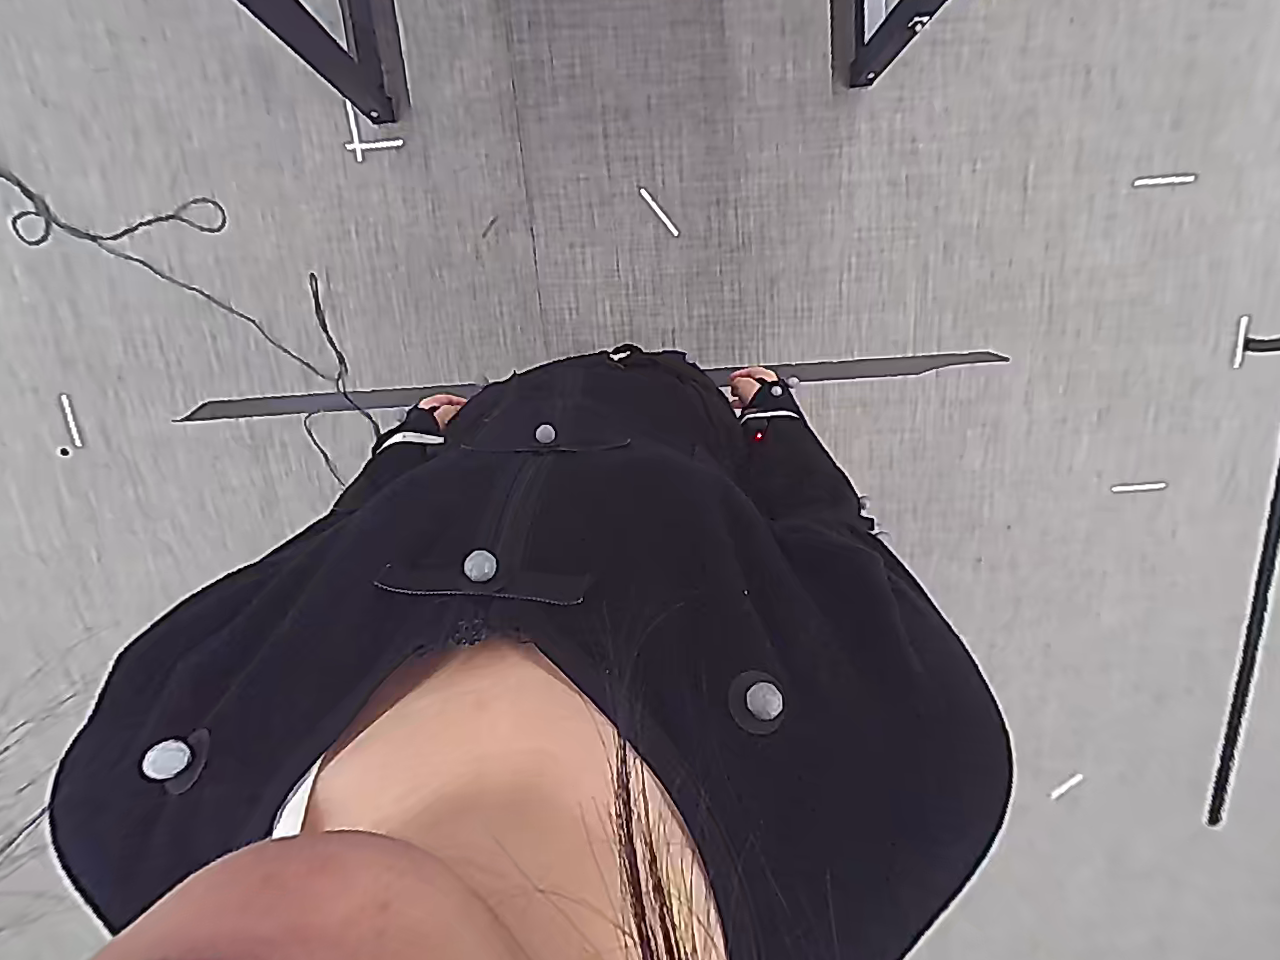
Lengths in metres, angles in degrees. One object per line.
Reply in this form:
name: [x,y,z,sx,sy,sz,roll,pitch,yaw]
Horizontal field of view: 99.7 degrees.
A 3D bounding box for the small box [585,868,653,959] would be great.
small box: [-0.055,1.229,1.500,0.168,0.176,0.179,-9,103,0]
